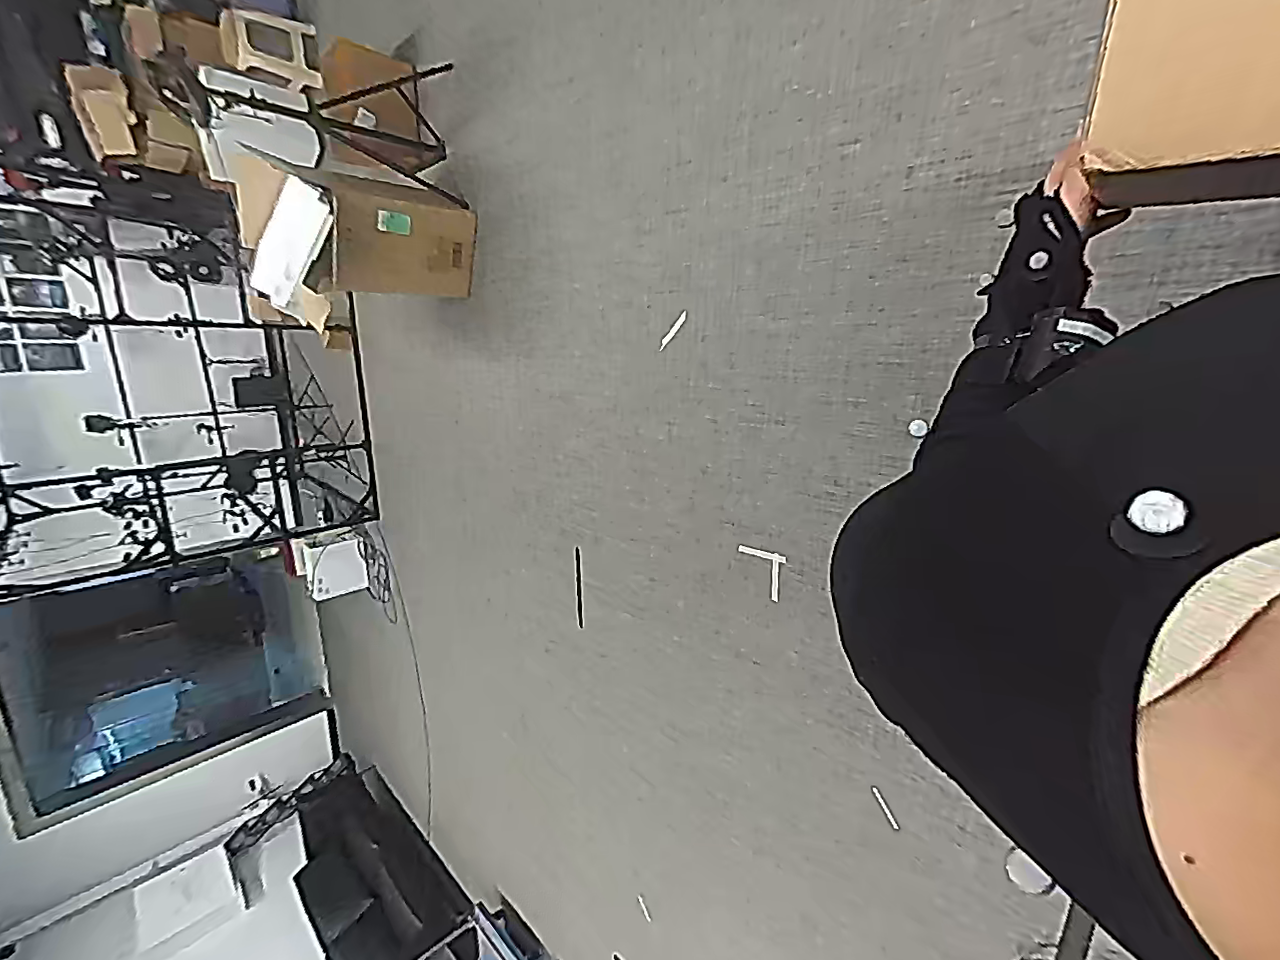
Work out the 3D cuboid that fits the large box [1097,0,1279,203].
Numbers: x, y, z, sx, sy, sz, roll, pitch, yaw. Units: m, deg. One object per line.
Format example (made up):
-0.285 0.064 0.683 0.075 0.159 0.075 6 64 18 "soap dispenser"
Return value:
0.441 -0.299 0.182 0.408 0.320 0.320 13 117 36 "large box"
